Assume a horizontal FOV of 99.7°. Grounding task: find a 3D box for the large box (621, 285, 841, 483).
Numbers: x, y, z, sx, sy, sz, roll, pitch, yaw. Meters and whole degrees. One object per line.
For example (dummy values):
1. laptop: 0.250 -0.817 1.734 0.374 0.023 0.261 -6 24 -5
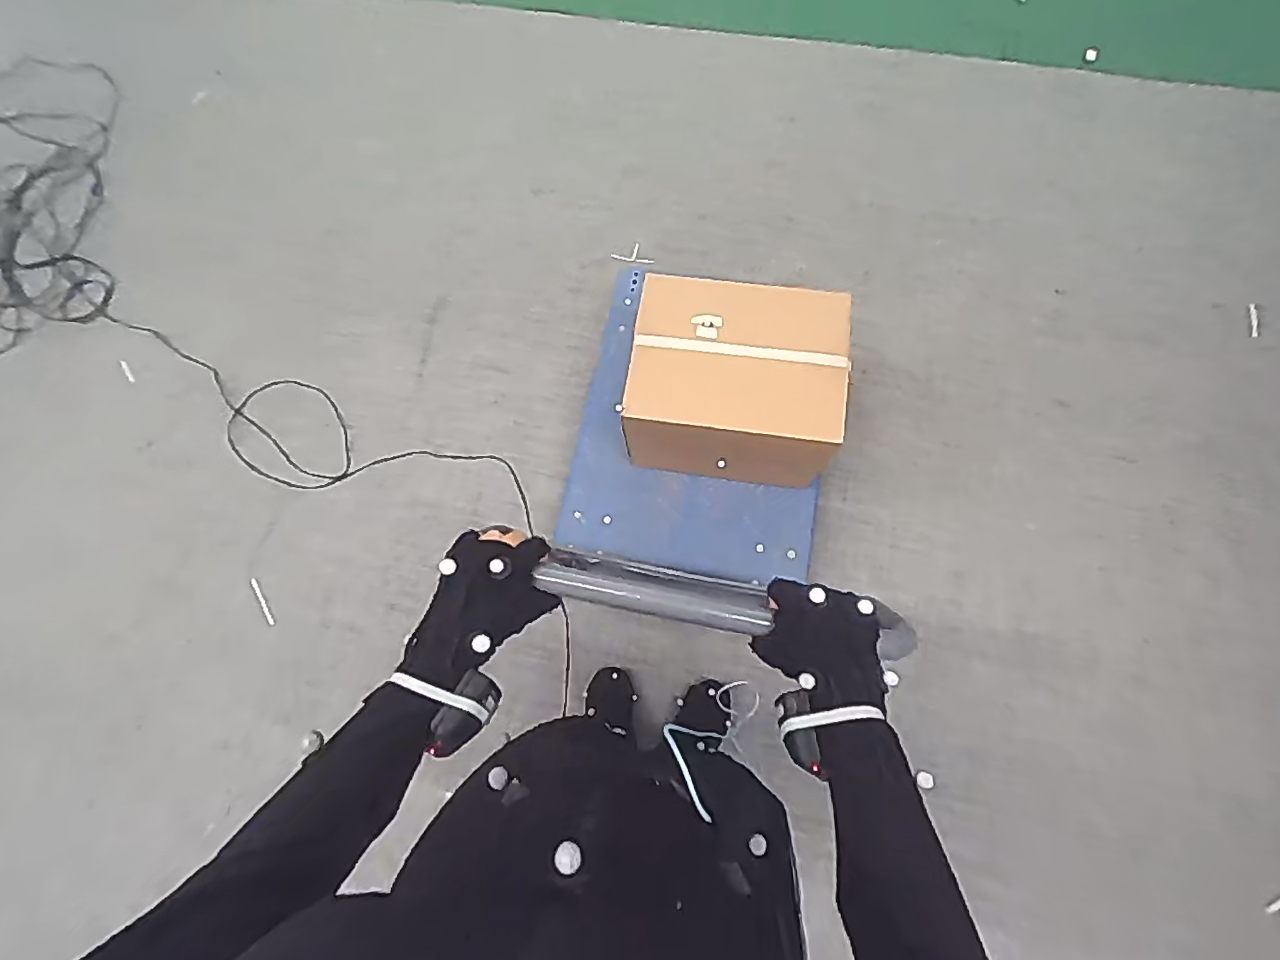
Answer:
1. large box: 0.191 -0.191 1.177 0.408 0.320 0.320 6 74 6
